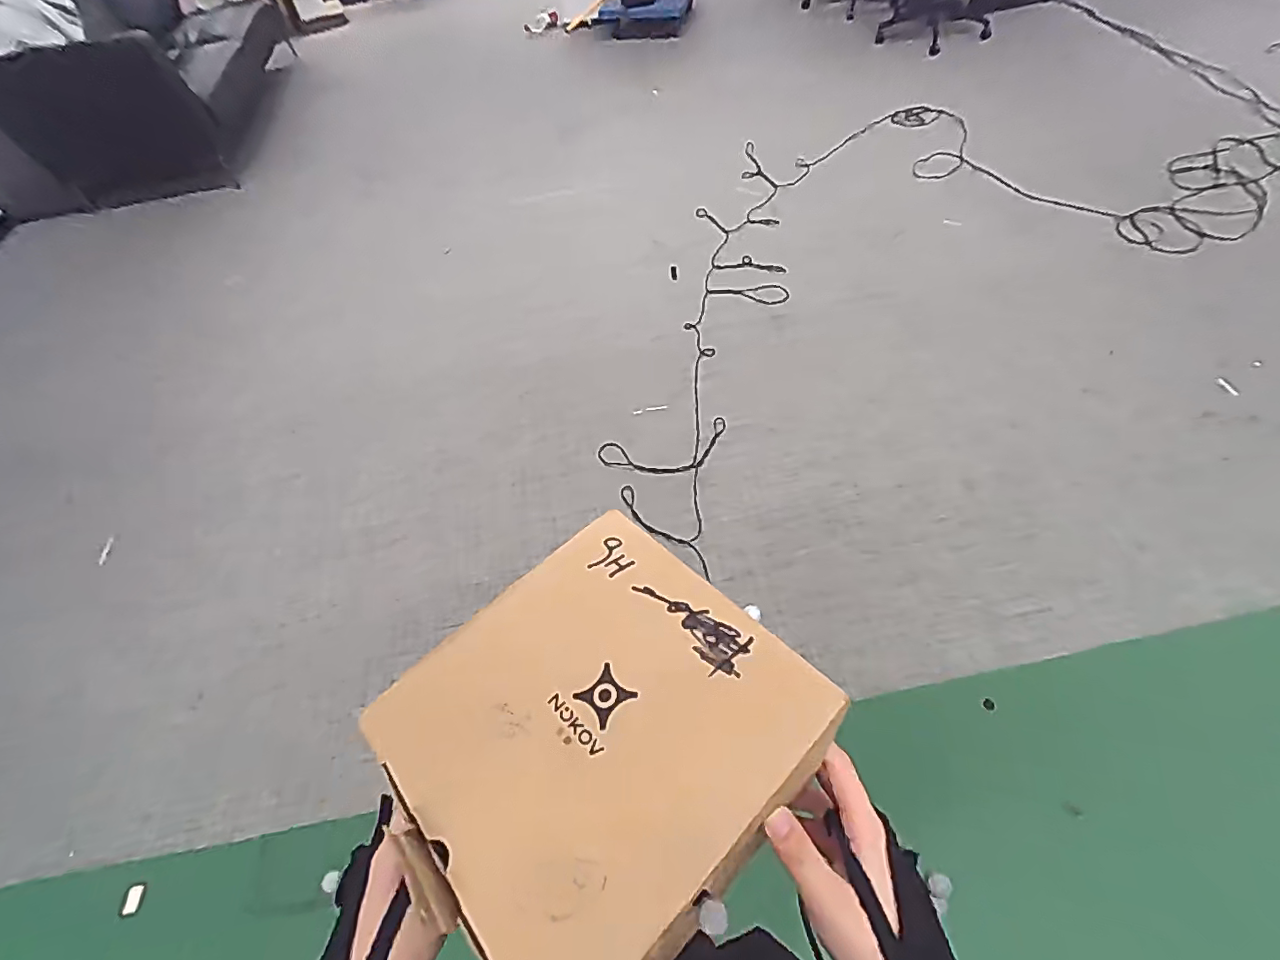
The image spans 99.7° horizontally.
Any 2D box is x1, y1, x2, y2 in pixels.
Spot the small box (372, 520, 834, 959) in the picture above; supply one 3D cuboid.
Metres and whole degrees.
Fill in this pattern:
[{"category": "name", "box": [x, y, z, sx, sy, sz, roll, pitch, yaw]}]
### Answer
[{"category": "small box", "box": [-0.011, 0.166, 0.322, 0.179, 0.176, 0.168, -40, 54, -21]}]
